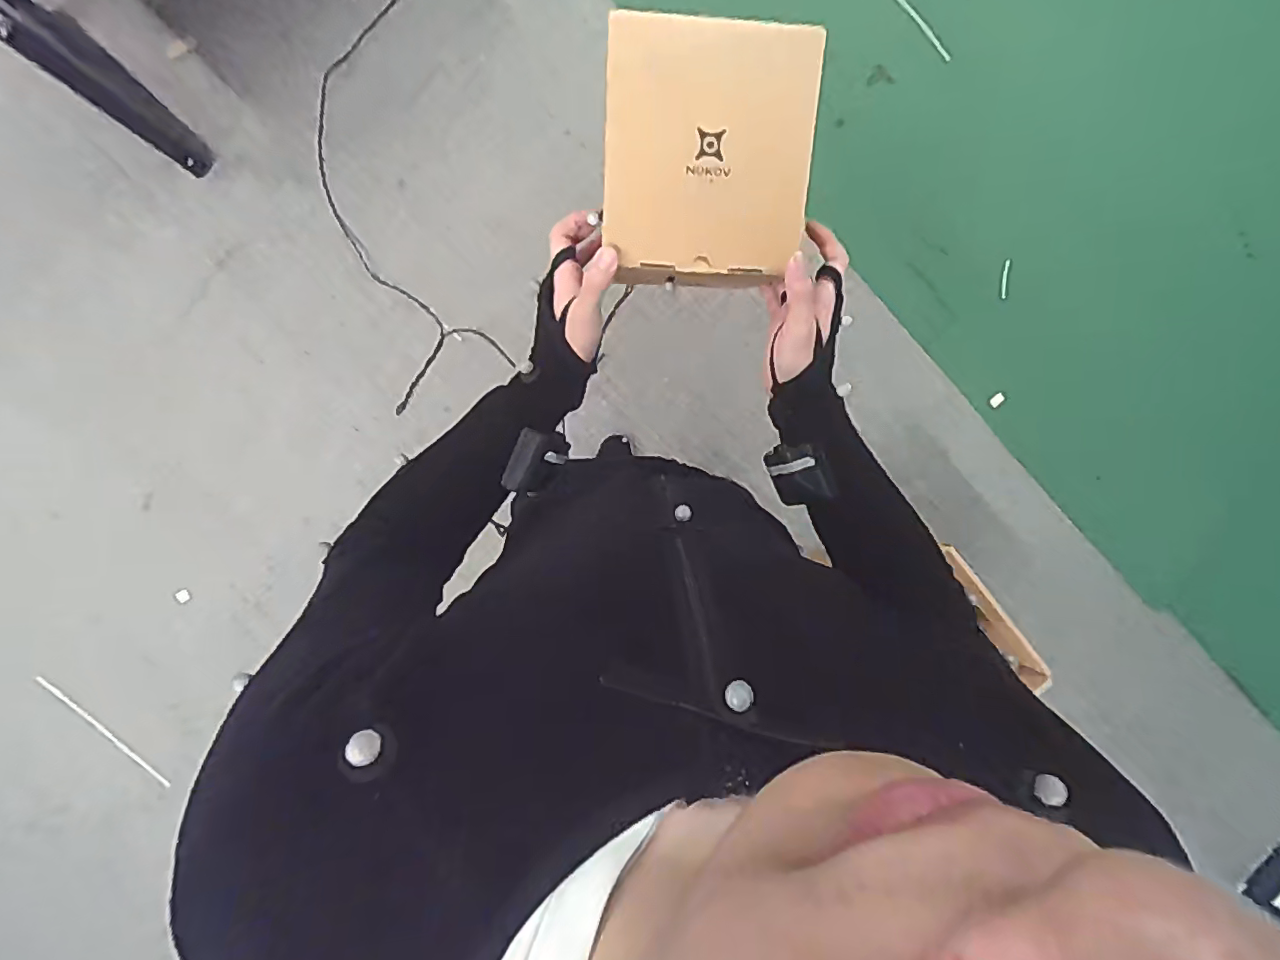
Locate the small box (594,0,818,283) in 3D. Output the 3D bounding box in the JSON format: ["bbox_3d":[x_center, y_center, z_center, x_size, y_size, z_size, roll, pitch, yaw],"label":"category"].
[{"bbox_3d":[0.042,-0.282,0.494,0.168,0.176,0.179,1,107,-5],"label":"small box"}]
